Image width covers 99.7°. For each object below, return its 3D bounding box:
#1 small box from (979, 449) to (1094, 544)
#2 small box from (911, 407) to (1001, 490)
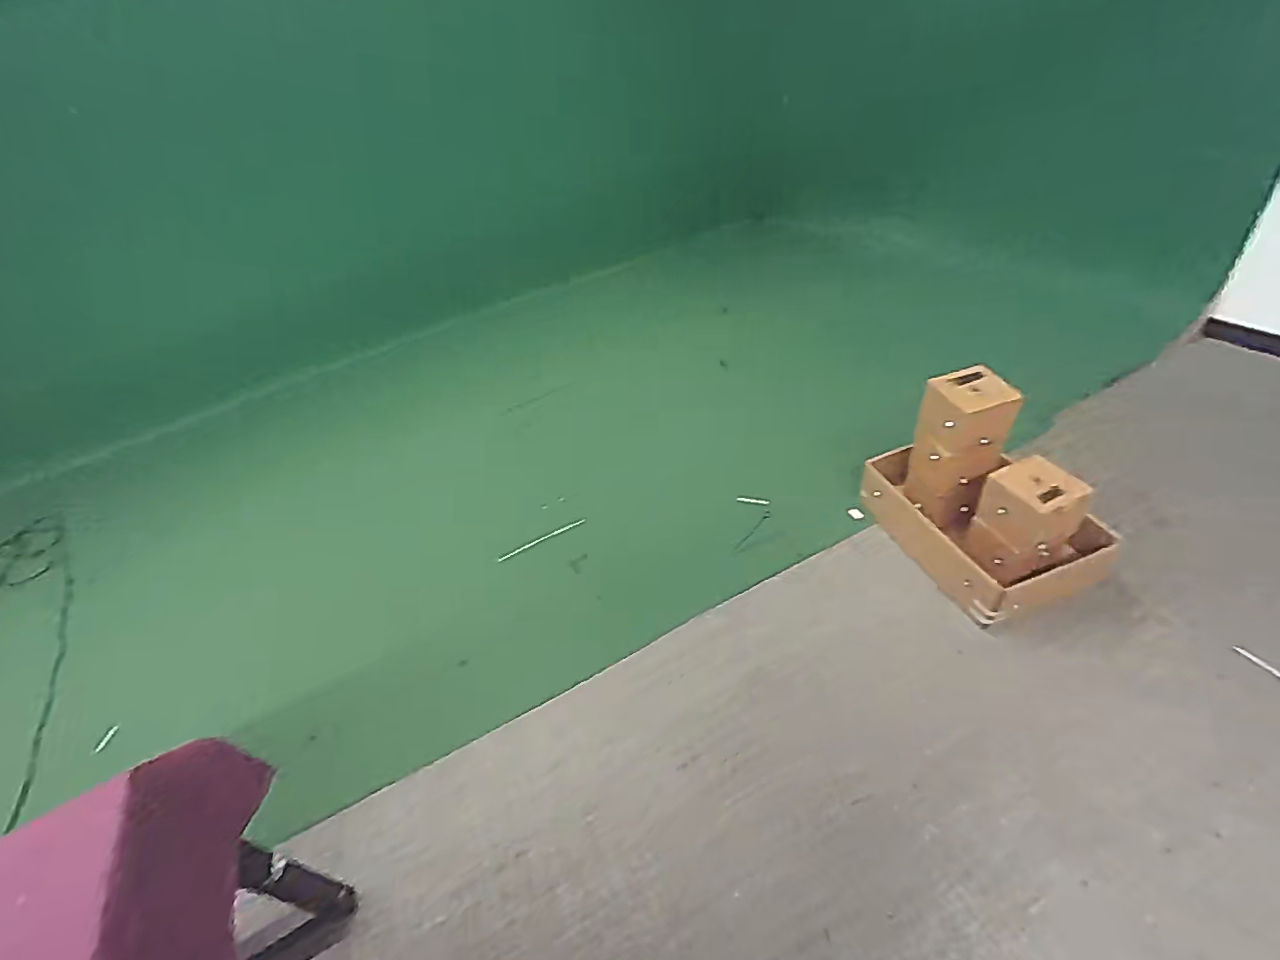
[{"bbox_3d":[1.070,0.051,1.477,0.168,0.176,0.179,-22,40,-6],"label":"small box"},{"bbox_3d":[0.968,-0.097,1.676,0.168,0.176,0.179,-13,44,2],"label":"small box"}]
